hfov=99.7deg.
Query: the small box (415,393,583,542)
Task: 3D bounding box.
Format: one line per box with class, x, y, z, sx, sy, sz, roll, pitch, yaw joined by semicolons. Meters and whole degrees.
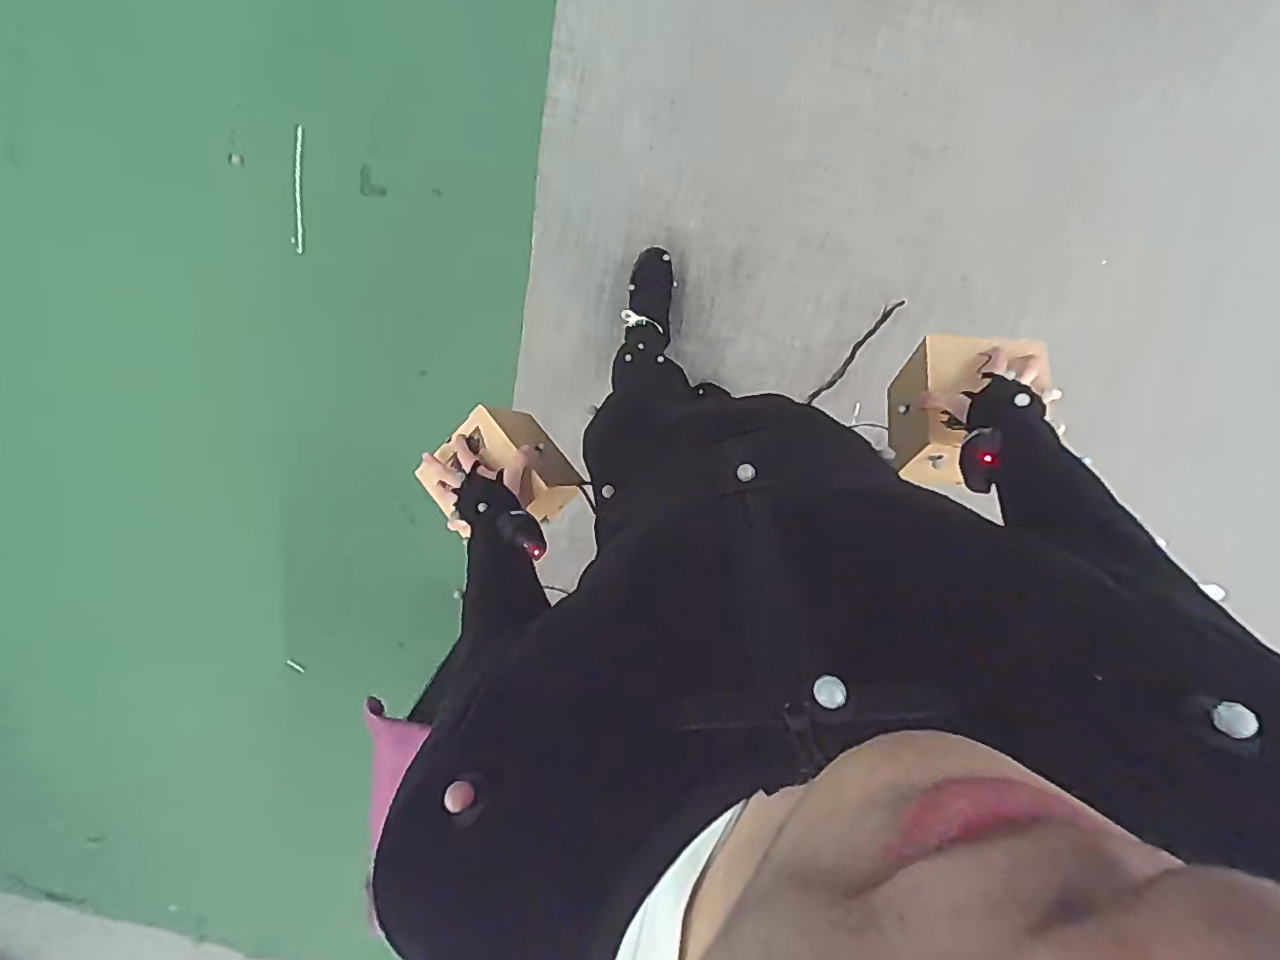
small box;-0.228;-0.019;0.911;0.168;0.176;0.179;-42;82;13
